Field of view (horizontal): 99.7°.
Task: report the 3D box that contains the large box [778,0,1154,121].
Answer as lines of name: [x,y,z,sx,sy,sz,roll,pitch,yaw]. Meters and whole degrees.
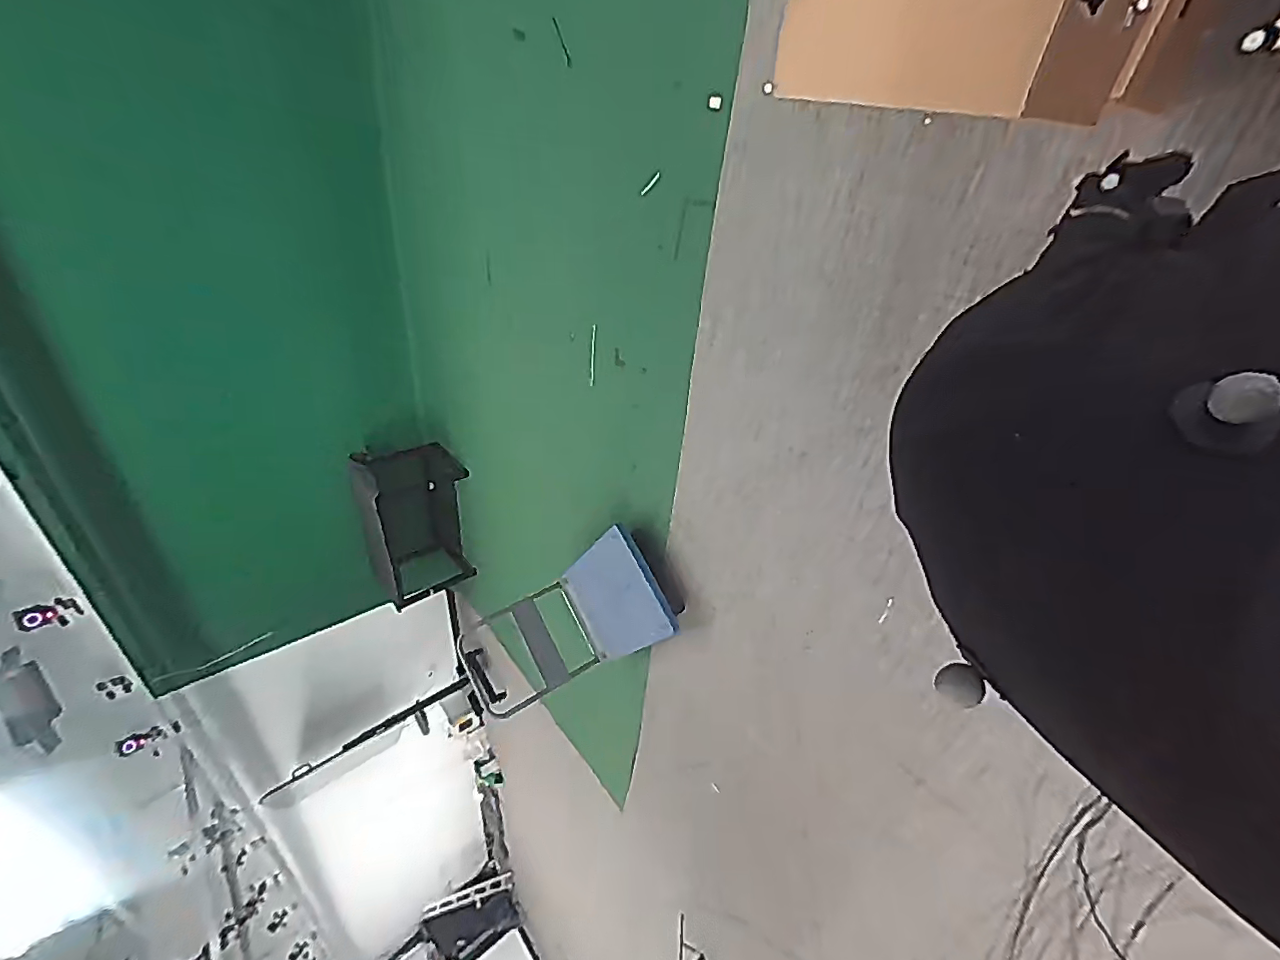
large box: [0.482,-0.720,0.790,0.408,0.320,0.320,38,137,38]
